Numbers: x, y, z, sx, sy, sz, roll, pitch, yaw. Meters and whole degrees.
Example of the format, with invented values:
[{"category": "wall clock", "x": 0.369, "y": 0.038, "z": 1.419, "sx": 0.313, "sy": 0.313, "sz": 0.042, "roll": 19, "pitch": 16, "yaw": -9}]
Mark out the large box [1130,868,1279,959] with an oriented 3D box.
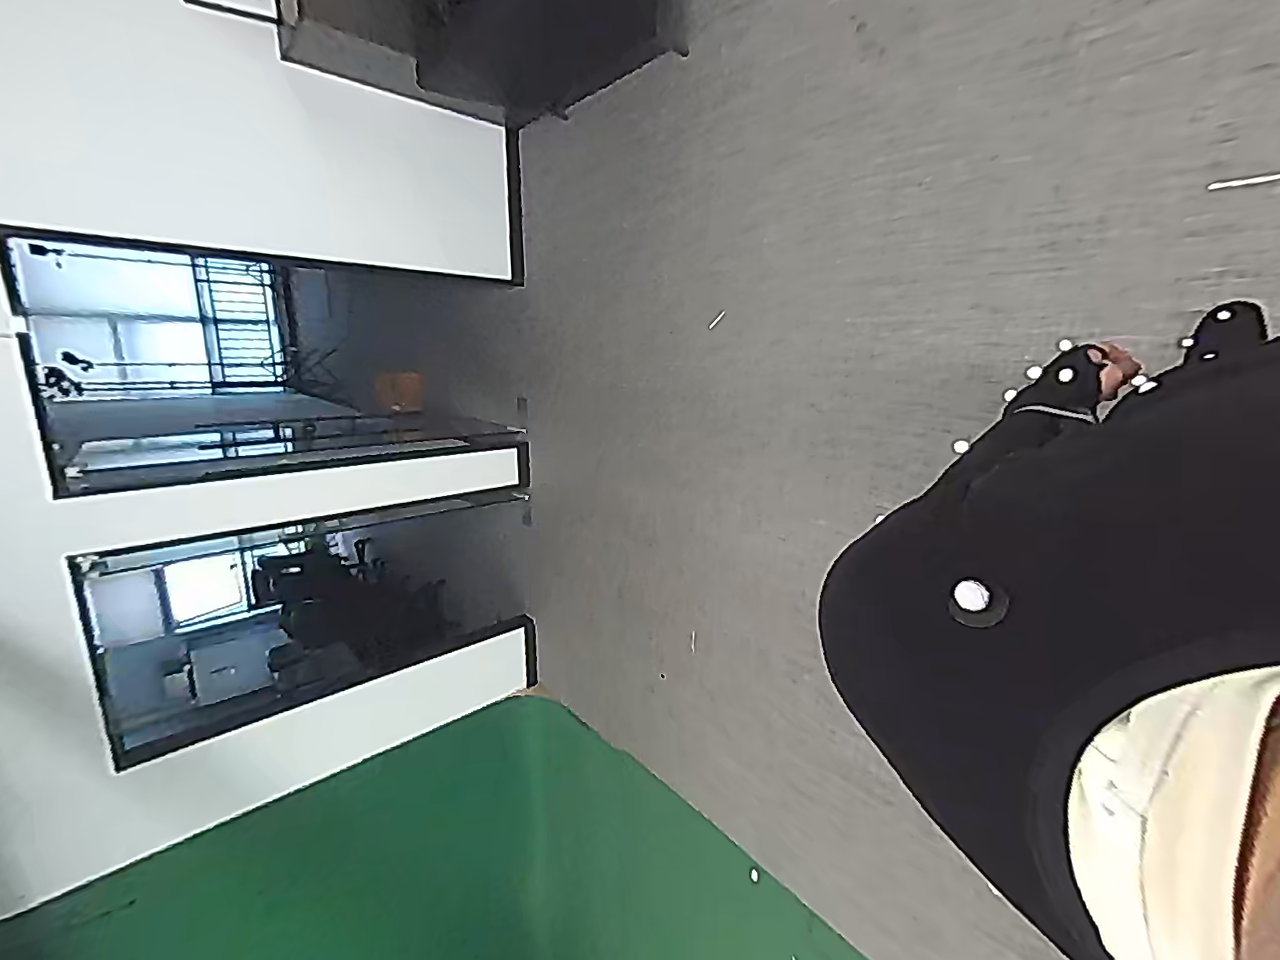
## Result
[{"category": "large box", "x": 1.290, "y": 1.141, "z": 1.117, "sx": 0.408, "sy": 0.320, "sz": 0.320, "roll": 13, "pitch": 107, "yaw": 49}]
